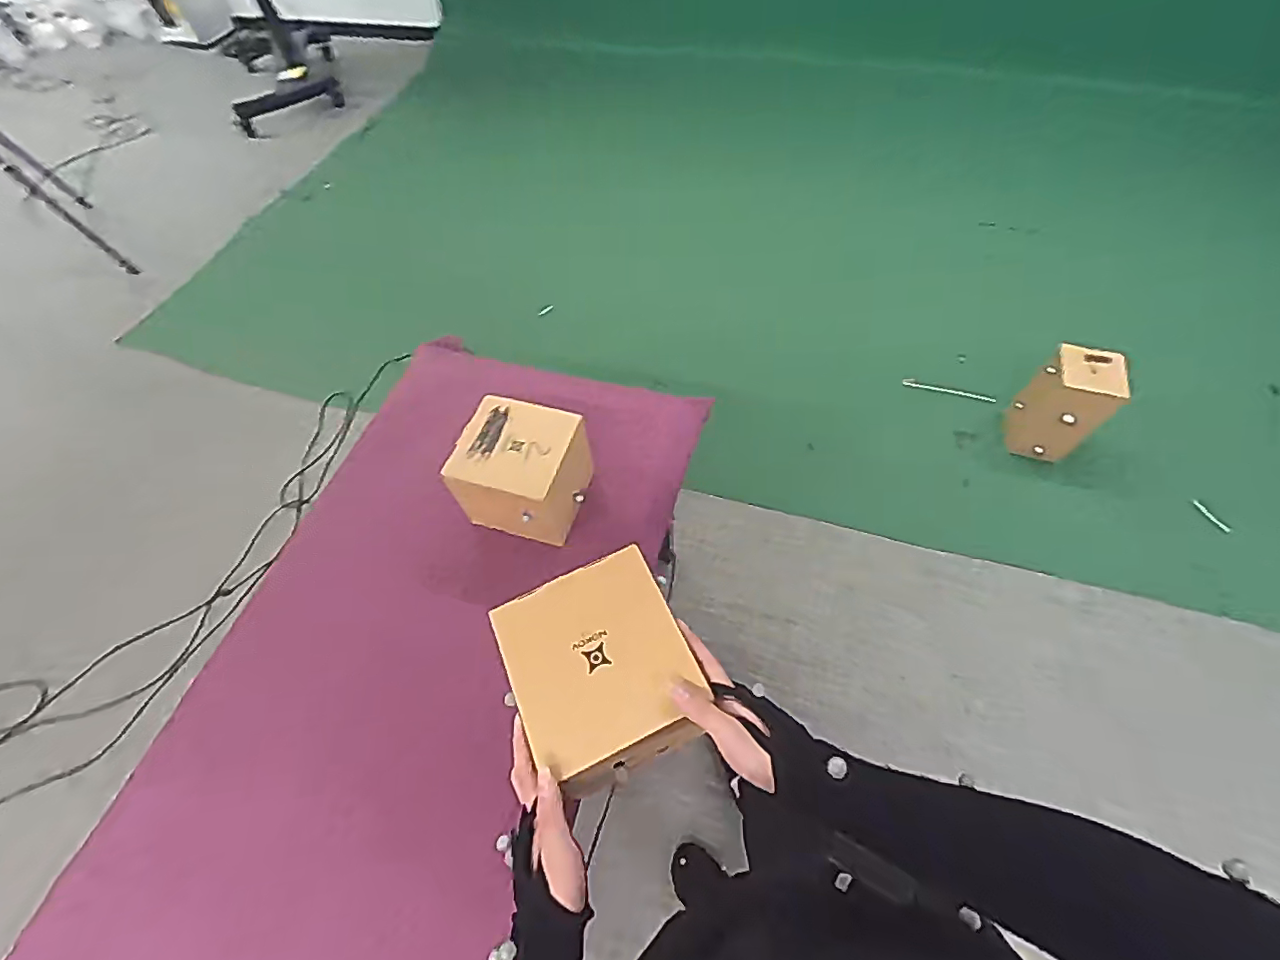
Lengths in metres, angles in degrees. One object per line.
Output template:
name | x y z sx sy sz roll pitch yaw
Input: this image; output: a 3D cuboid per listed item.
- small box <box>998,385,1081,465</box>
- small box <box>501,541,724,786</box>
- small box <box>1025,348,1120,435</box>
small box | 1.309 -0.179 1.783 0.168 0.176 0.179 15 60 12
small box | -0.023 0.200 0.572 0.168 0.176 0.179 -24 57 -9
small box | 1.304 -0.266 1.644 0.168 0.176 0.179 15 61 12
